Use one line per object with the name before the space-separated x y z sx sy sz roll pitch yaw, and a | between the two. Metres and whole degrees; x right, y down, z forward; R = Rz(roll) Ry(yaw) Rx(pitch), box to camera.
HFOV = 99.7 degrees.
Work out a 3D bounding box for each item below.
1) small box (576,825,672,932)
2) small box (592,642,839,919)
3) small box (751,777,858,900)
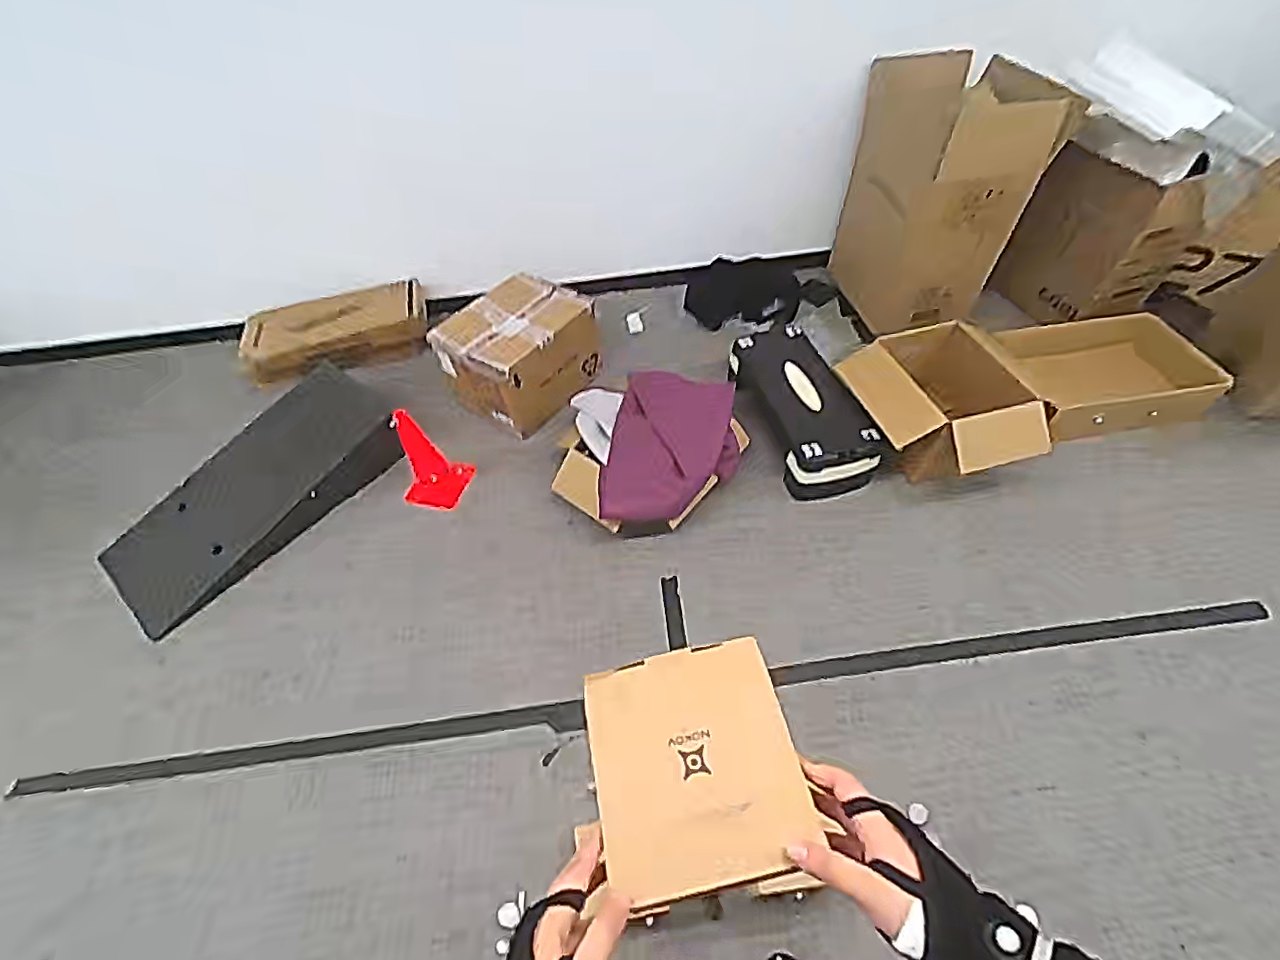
small box | -0.031 0.825 1.135 0.179 0.176 0.168 -10 51 -3
small box | 0.060 0.280 0.501 0.168 0.176 0.179 -14 52 -1
small box | 0.280 0.677 1.018 0.179 0.176 0.168 -7 51 -2
